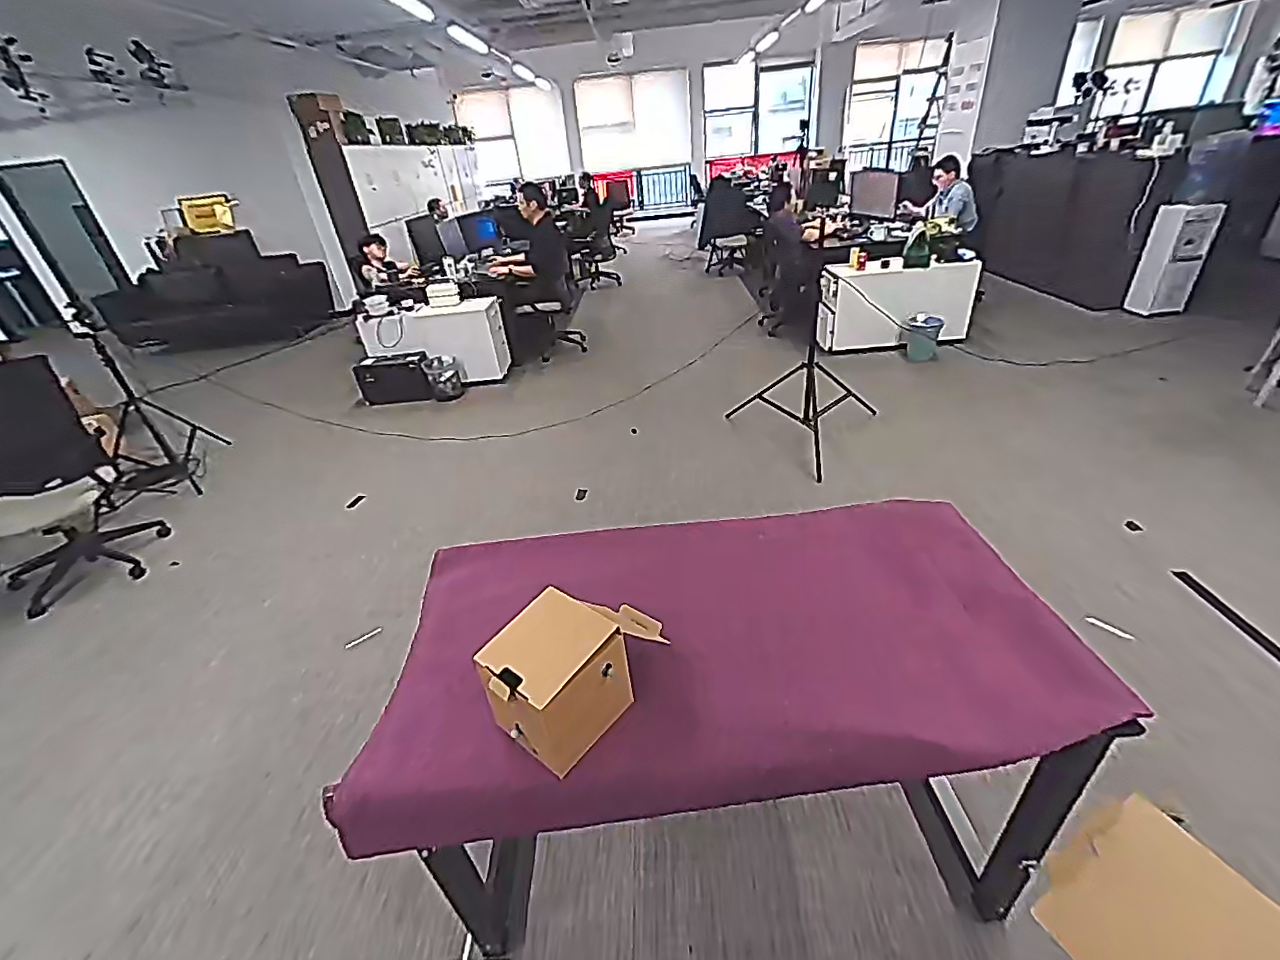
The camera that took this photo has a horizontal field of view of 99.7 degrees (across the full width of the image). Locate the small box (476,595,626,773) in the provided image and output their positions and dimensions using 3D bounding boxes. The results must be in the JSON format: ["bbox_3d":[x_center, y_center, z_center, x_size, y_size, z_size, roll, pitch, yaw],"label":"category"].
[{"bbox_3d":[-0.136,0.330,0.892,0.168,0.176,0.179,18,38,37],"label":"small box"}]
